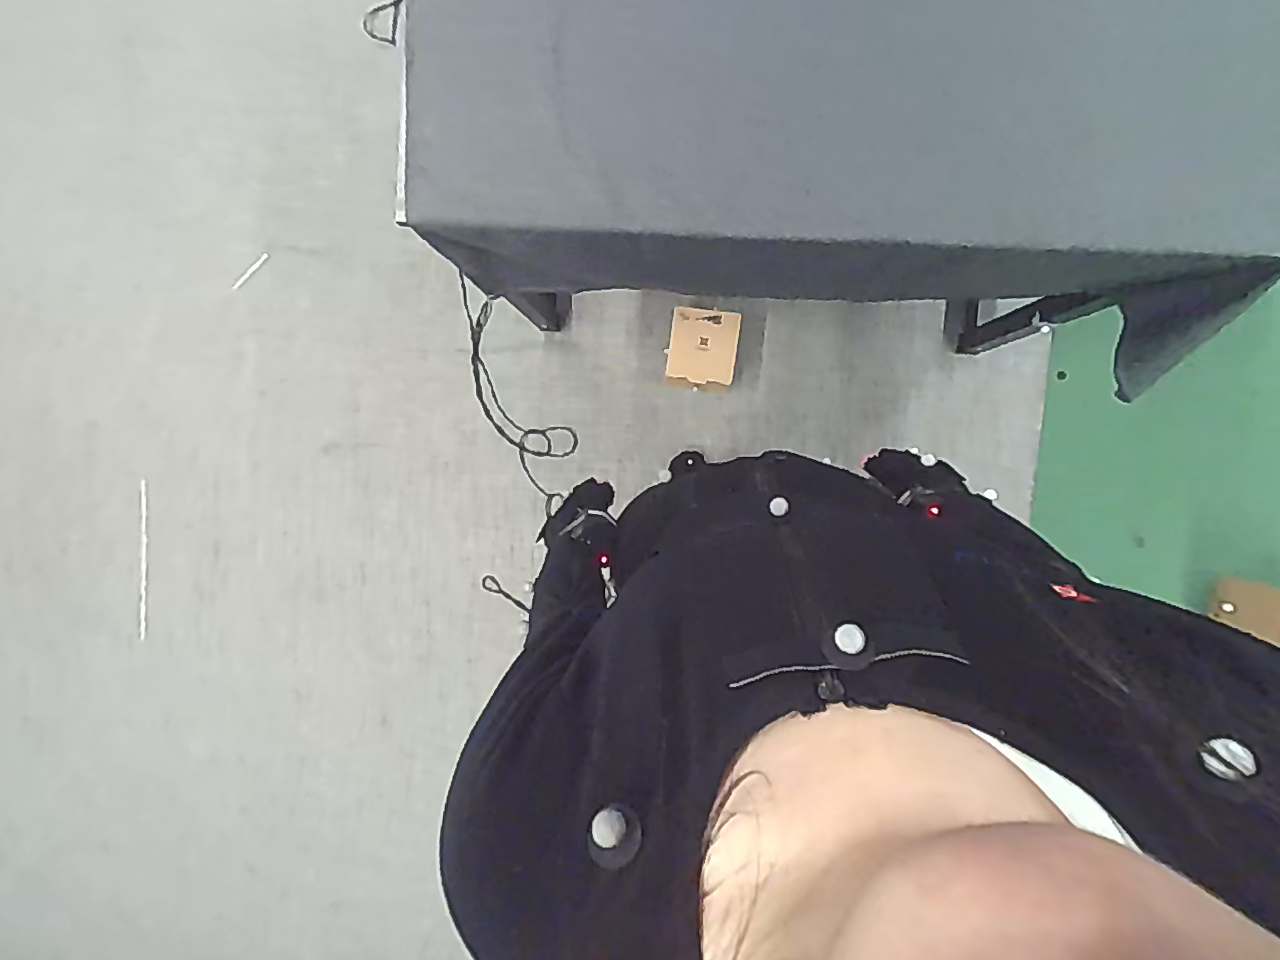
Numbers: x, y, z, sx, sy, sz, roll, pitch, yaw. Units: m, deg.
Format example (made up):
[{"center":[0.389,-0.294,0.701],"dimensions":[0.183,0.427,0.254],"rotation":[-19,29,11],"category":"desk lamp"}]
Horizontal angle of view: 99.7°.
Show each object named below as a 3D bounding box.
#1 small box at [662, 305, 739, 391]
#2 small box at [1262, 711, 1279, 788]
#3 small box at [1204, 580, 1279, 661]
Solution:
[{"center":[0.153,-0.327,1.378],"dimensions":[0.168,0.176,0.179],"rotation":[8,93,4],"category":"small box"},{"center":[1.515,0.622,1.162],"dimensions":[0.168,0.176,0.179],"rotation":[5,93,4],"category":"small box"},{"center":[1.558,0.352,1.313],"dimensions":[0.179,0.176,0.168],"rotation":[15,92,4],"category":"small box"}]
